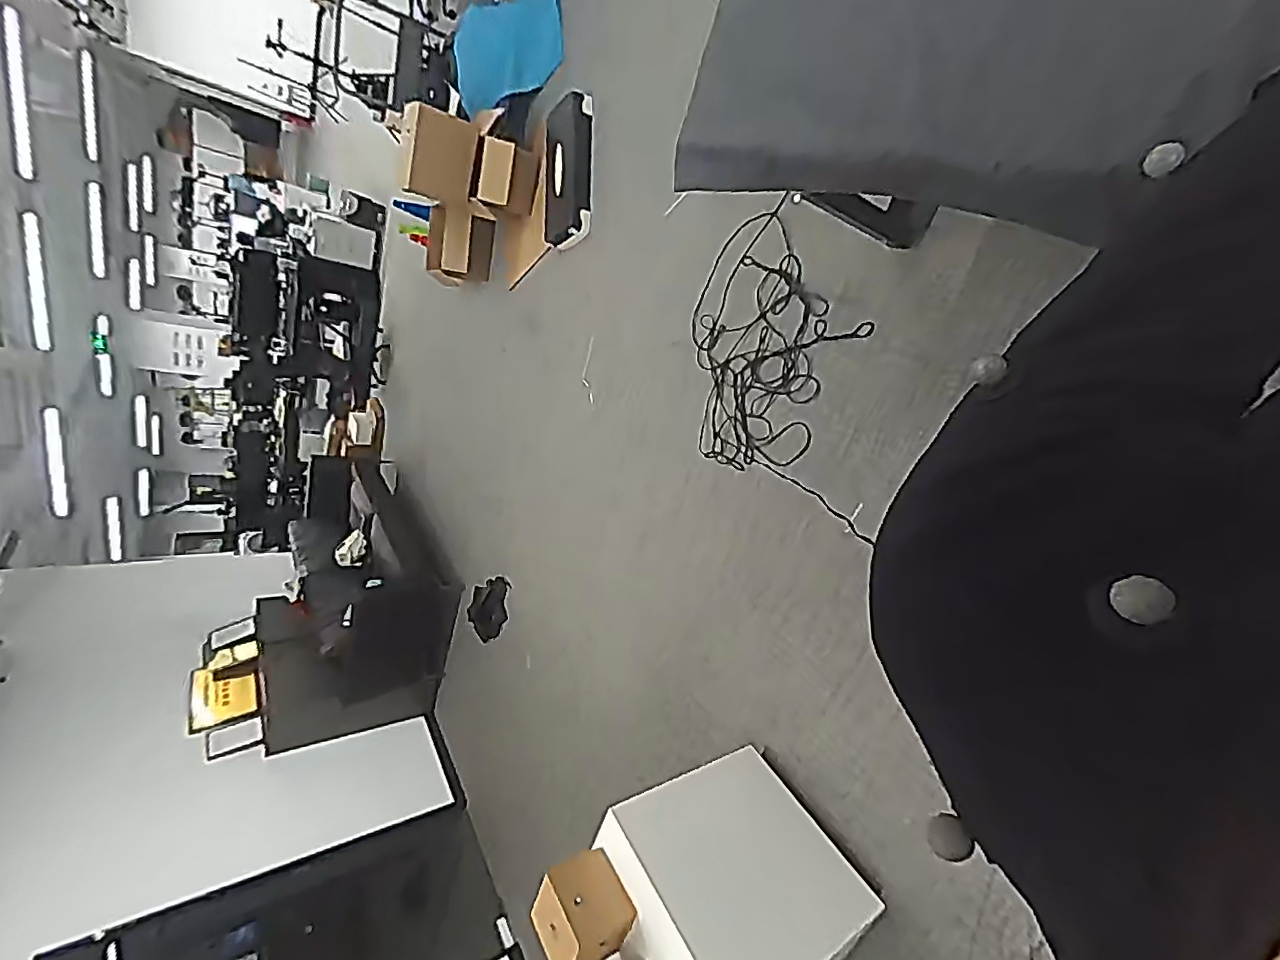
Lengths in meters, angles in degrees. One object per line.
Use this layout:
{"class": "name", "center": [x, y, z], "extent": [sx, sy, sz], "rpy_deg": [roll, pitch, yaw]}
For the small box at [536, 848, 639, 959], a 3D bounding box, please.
{"class": "small box", "center": [-0.127, 1.054, 1.323], "extent": [0.179, 0.176, 0.168], "rpy_deg": [40, 119, 45]}
